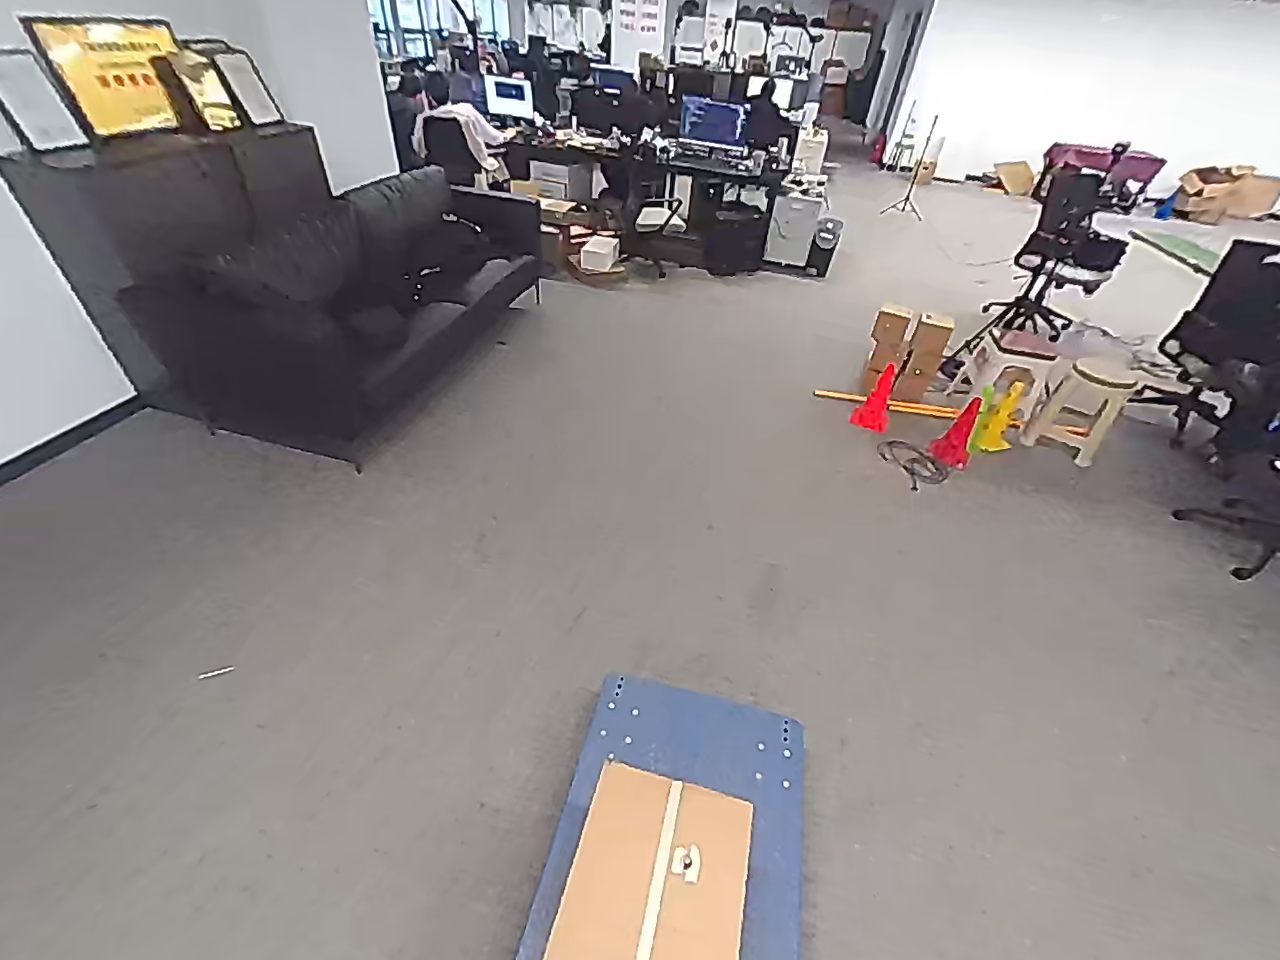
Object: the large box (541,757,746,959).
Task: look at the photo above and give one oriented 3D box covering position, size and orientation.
[{"bbox_3d":[0.012,0.845,1.052,0.320,0.320,0.408,13,40,9],"label":"large box"}]
